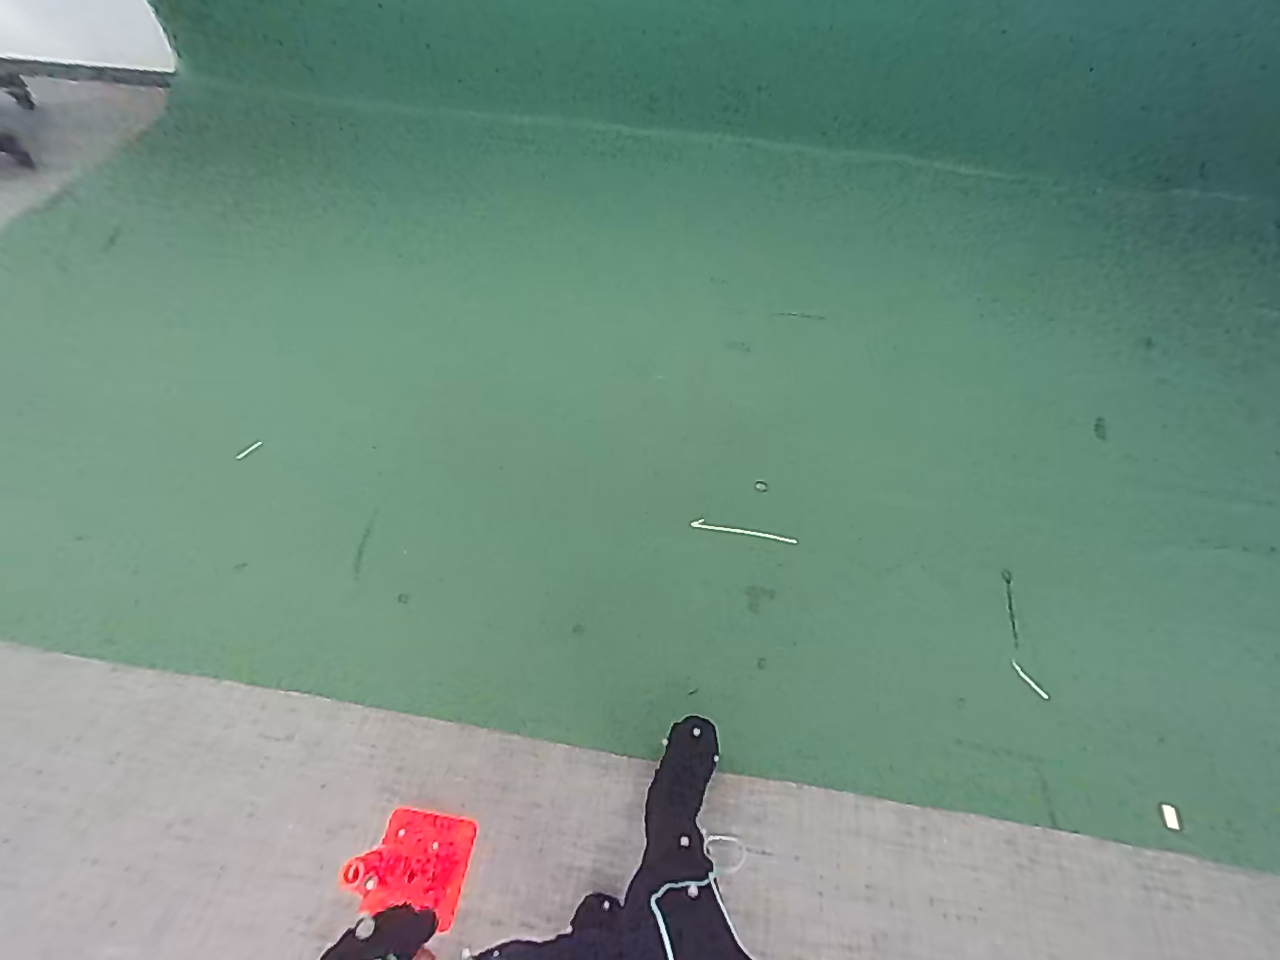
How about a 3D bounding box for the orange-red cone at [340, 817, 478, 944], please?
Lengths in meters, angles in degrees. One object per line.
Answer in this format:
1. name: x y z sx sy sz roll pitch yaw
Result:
1. orange-red cone: -0.462 0.752 1.011 0.198 0.360 0.199 8 57 5
